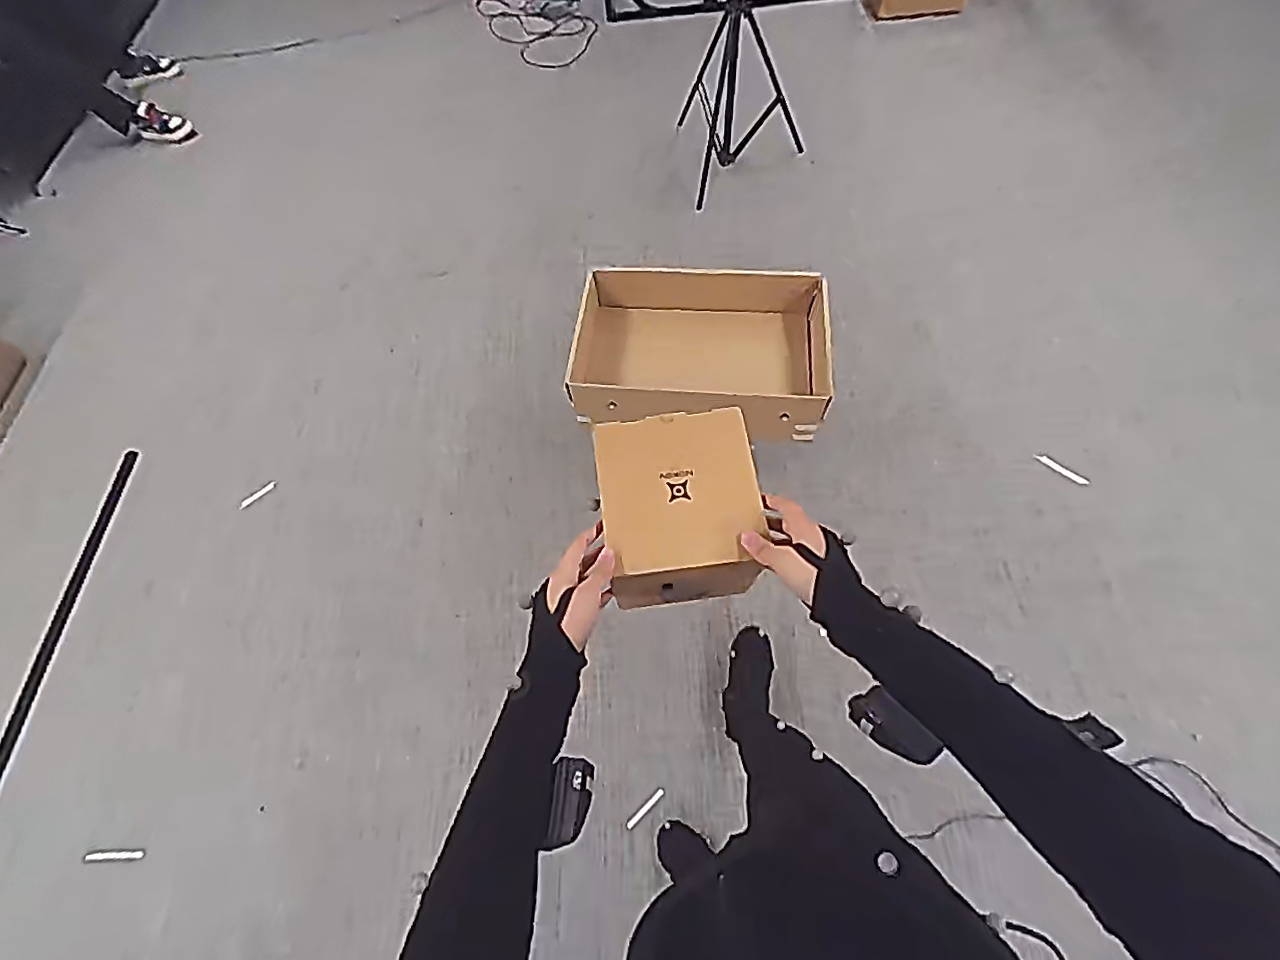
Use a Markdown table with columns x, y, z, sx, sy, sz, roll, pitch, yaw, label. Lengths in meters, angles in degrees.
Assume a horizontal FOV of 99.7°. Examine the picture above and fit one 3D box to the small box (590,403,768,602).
| x | y | z | sx | sy | sz | roll | pitch | yaw | label |
| --- | --- | --- | --- | --- | --- | --- | --- | --- | --- |
| 0.039 | 0.036 | 0.627 | 0.168 | 0.176 | 0.179 | -7 | 65 | -1 | small box |
